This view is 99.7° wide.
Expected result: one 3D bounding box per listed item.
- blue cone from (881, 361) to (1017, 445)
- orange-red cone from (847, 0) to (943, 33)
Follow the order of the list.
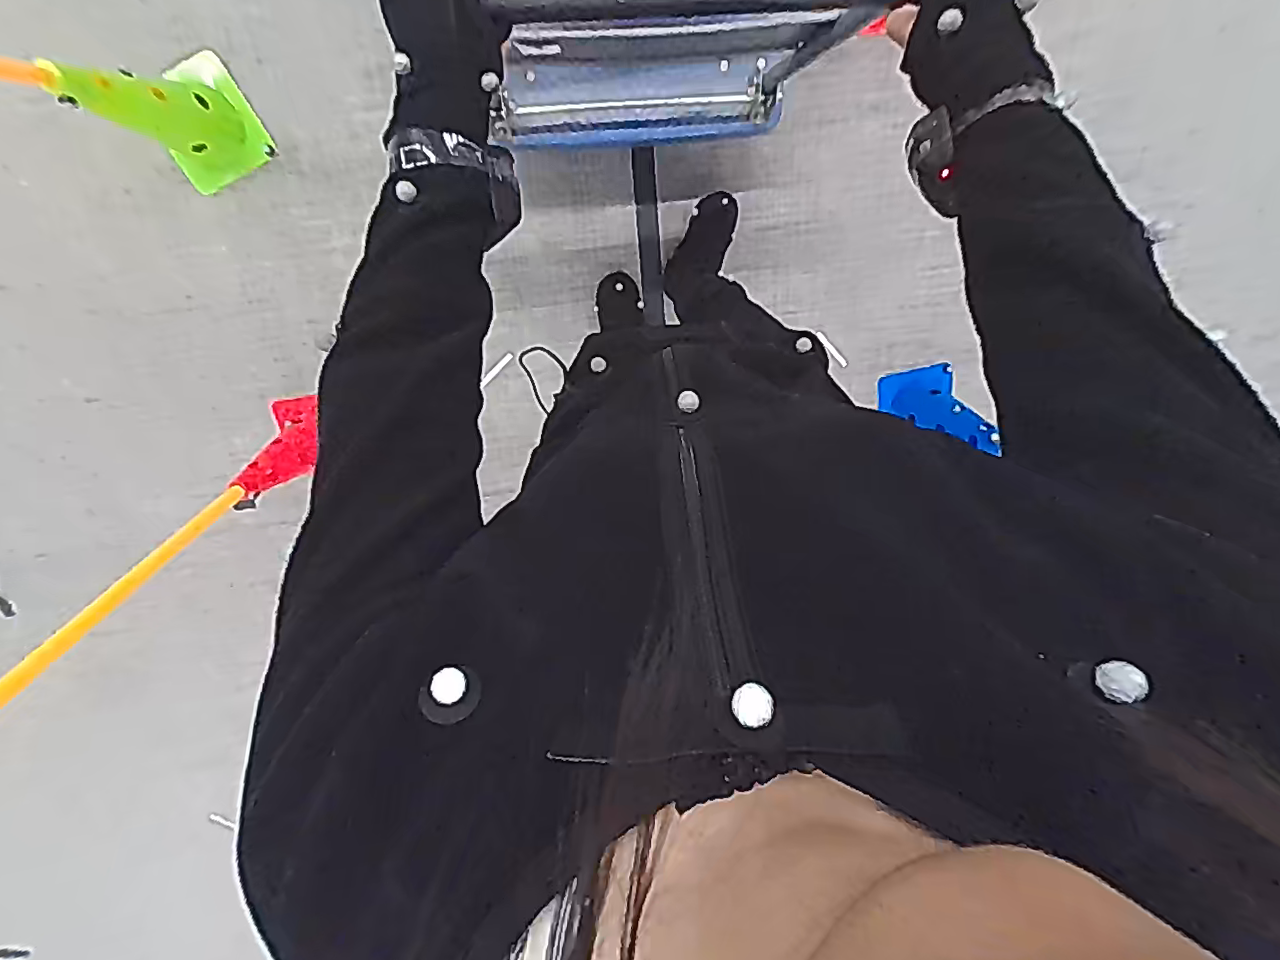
[{"bbox_3d":[0.753,-0.148,1.294,0.193,0.380,0.192,-11,112,0],"label":"blue cone"},{"bbox_3d":[0.536,-0.951,0.922,0.199,0.360,0.198,-2,114,-5],"label":"orange-red cone"}]
